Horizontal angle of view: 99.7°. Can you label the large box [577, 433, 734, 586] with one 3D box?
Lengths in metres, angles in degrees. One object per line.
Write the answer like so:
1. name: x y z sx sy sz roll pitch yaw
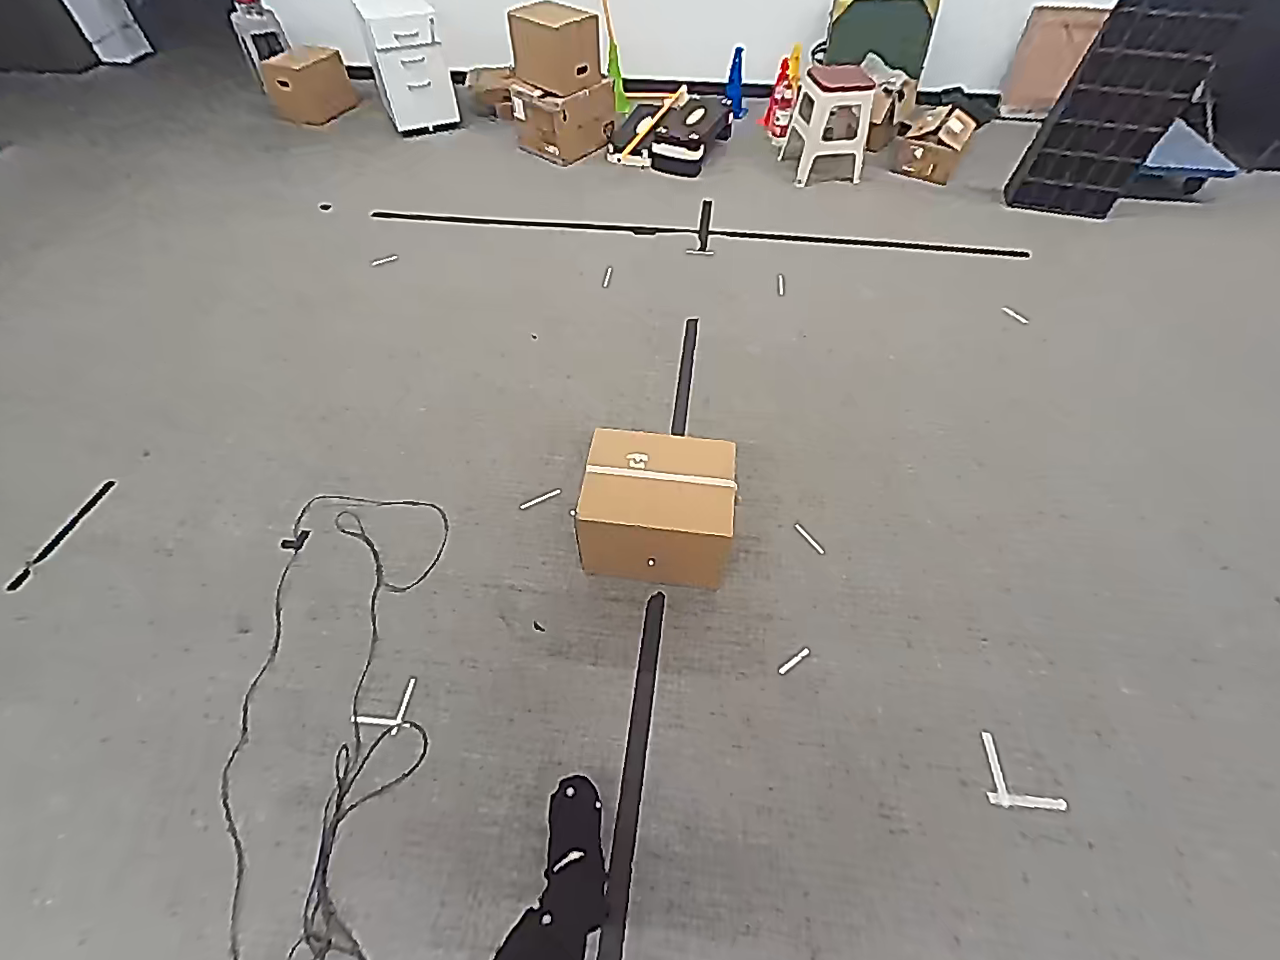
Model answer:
1. large box: 0.055 0.091 1.570 0.408 0.320 0.320 6 53 5
